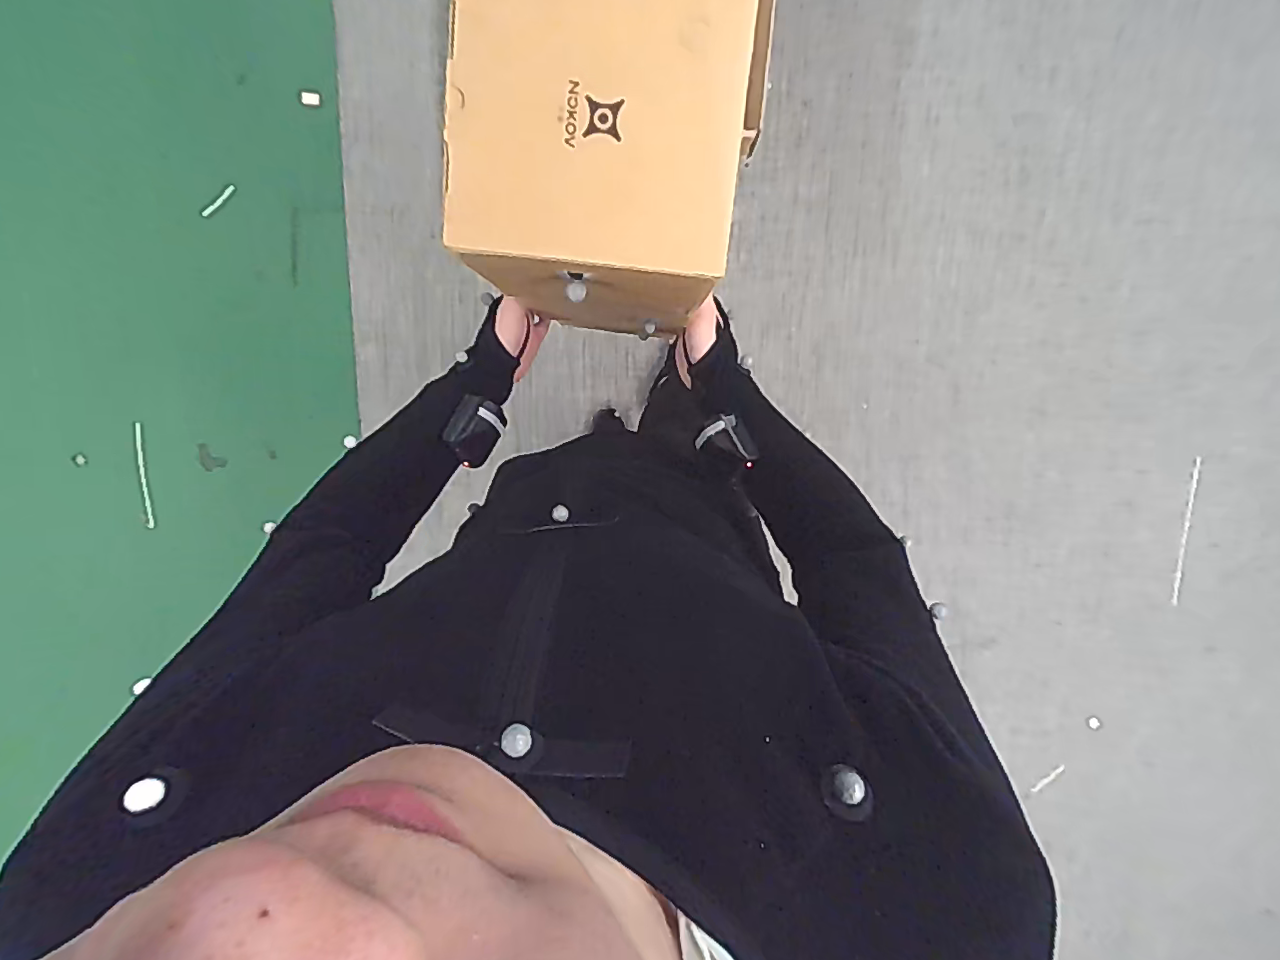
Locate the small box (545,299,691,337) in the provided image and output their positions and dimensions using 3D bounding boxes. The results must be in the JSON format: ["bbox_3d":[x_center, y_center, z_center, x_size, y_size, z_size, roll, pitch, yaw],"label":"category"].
[{"bbox_3d":[-0.018,-0.288,0.716,0.179,0.176,0.168,8,99,-1],"label":"small box"}]

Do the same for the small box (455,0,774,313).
[{"bbox_3d":[-0.019,-0.222,0.395,0.179,0.176,0.168,6,100,-1],"label":"small box"}]
